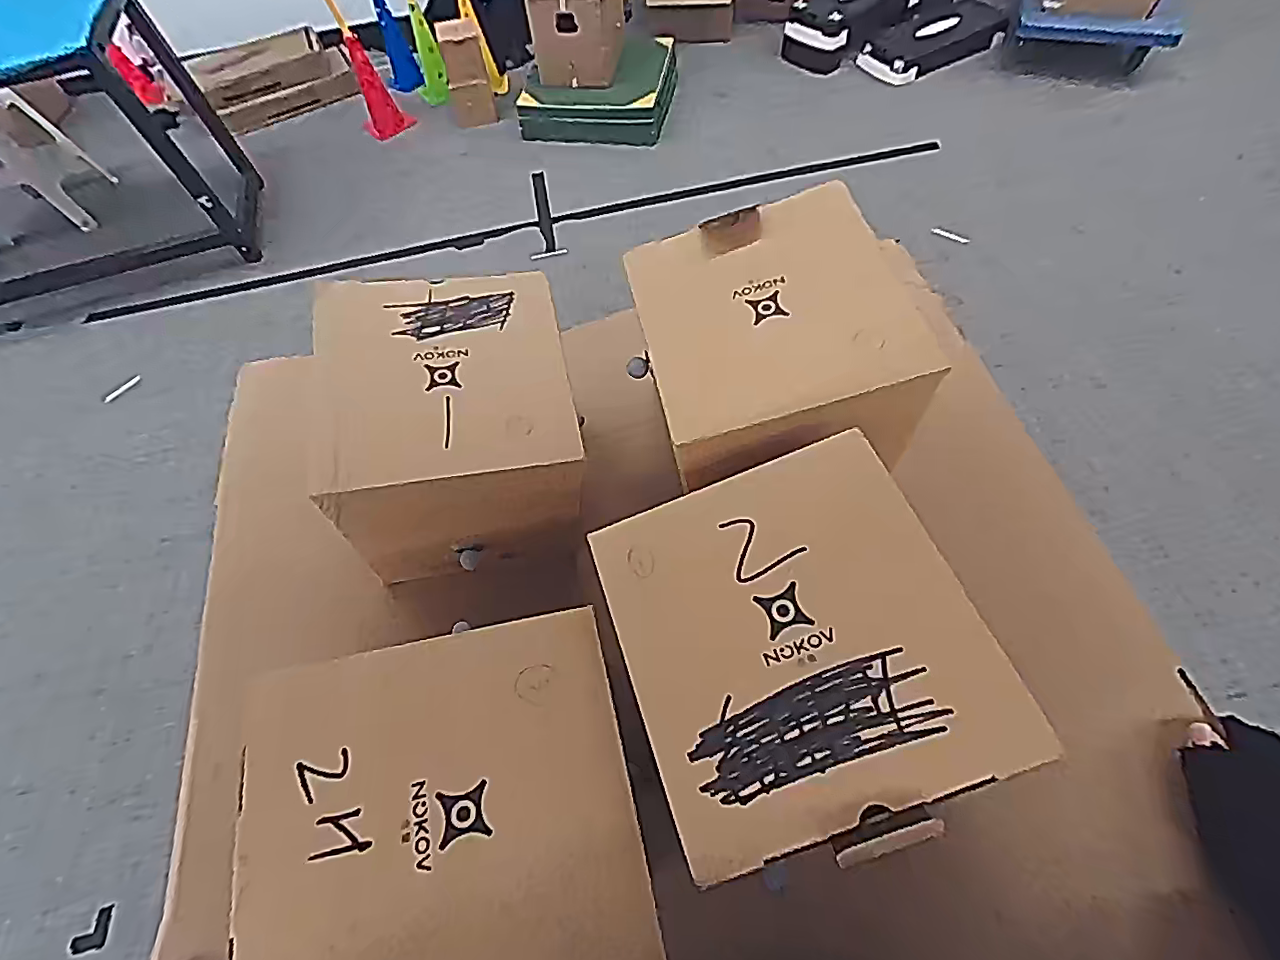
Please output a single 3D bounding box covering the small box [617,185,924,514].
[{"bbox_3d":[0.093,-0.086,0.435,0.168,0.176,0.179,-16,62,5],"label":"small box"}]
